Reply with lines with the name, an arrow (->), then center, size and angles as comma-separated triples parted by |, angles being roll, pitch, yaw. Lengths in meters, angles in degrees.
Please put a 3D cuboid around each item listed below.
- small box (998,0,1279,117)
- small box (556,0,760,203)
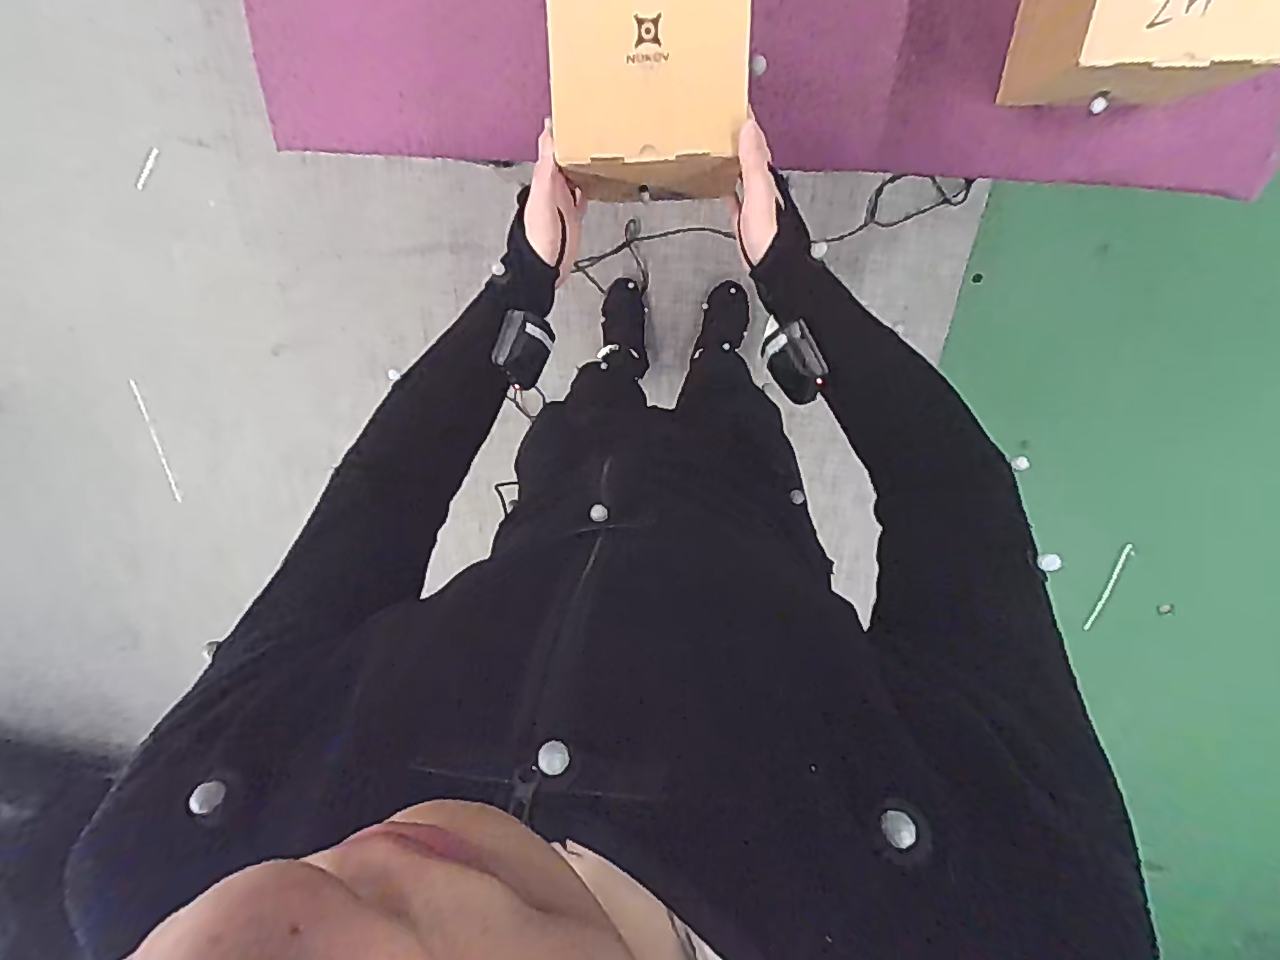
small box -> 0.473, -0.457, 0.503 | 0.168, 0.176, 0.179 | 5, 117, 7
small box -> 0.017, -0.376, 0.515 | 0.168, 0.176, 0.179 | 0, 109, 4
